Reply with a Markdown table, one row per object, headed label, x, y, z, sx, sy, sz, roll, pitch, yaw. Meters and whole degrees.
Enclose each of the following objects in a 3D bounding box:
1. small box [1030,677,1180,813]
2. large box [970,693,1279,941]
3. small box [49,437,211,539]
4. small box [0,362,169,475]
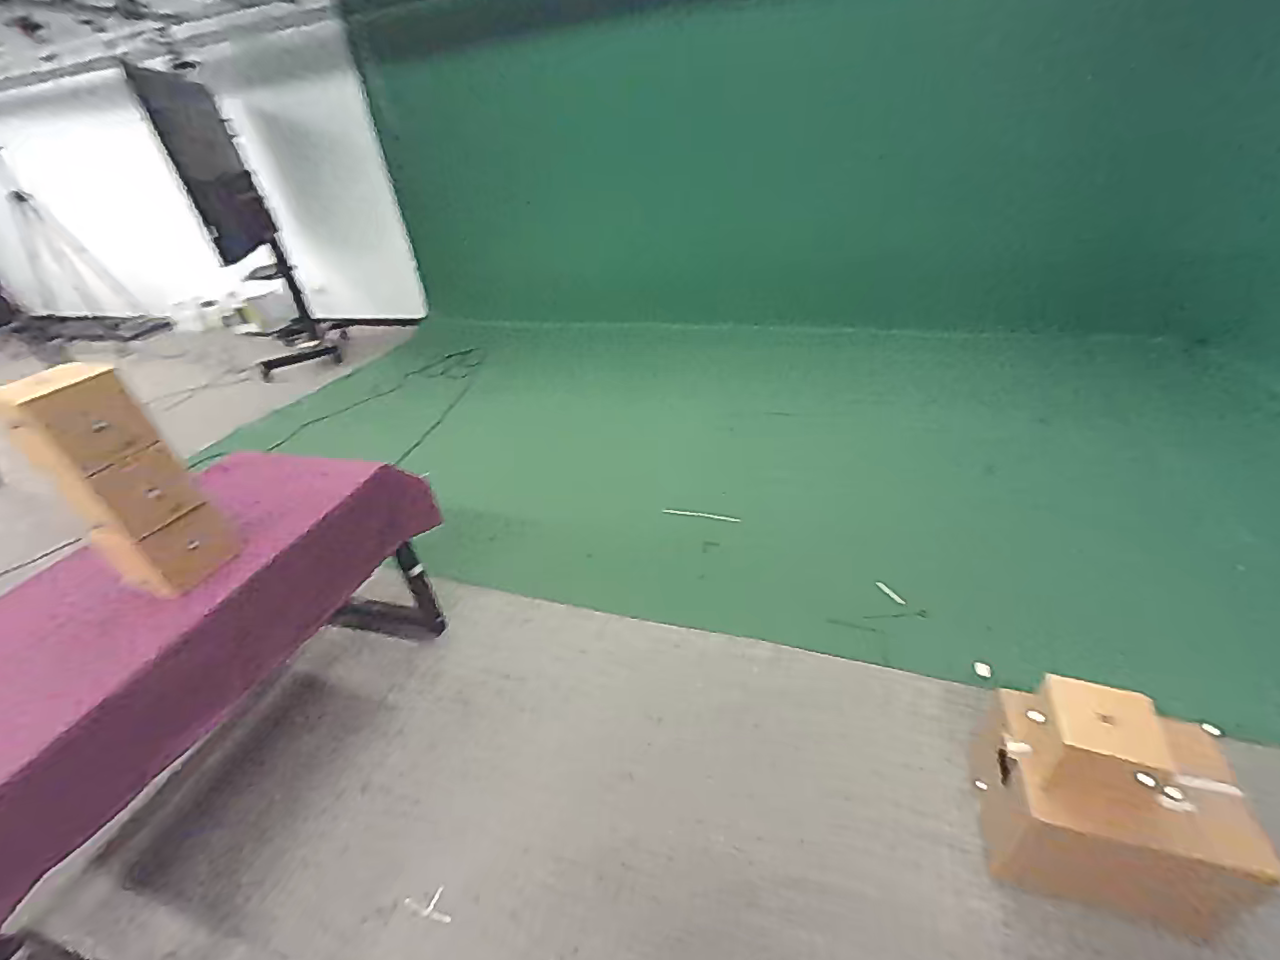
| label | x | y | z | sx | sy | sz | roll | pitch | yaw |
| --- | --- | --- | --- | --- | --- | --- | --- | --- | --- |
| small box | 0.925 | 0.540 | 1.102 | 0.179 | 0.176 | 0.168 | 9 | 38 | 20 |
| large box | 1.033 | 0.744 | 1.223 | 0.408 | 0.320 | 0.320 | 7 | 36 | 17 |
| small box | -1.113 | 0.009 | 1.196 | 0.179 | 0.176 | 0.168 | 9 | 37 | 21 |
| small box | -1.130 | -0.126 | 1.102 | 0.179 | 0.176 | 0.168 | 7 | 36 | 21 |
